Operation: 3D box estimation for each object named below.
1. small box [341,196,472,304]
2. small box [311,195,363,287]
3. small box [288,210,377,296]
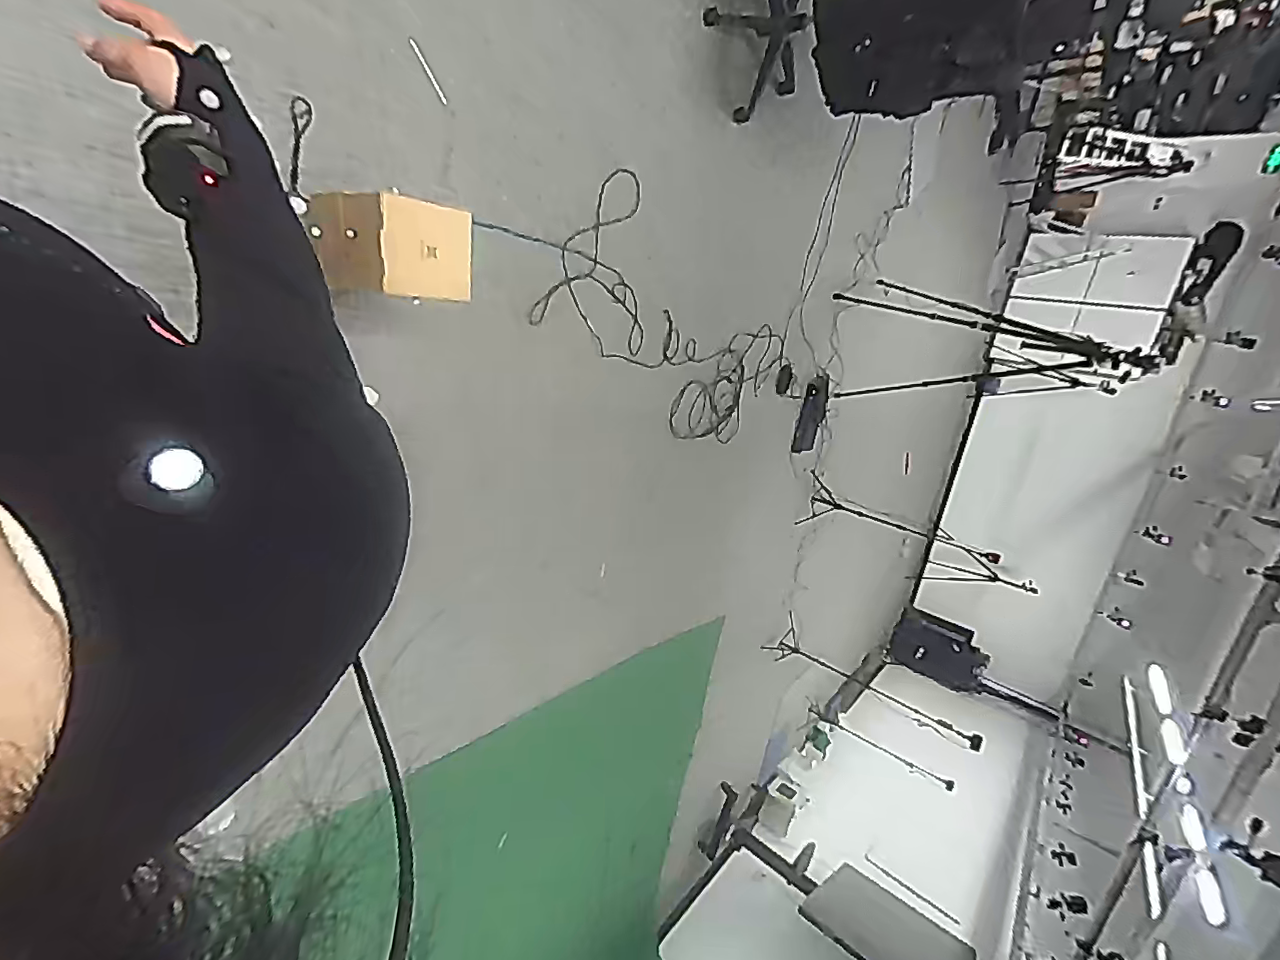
[{"bbox_3d":[-0.445,-0.437,1.038,0.179,0.176,0.168,-14,116,-47],"label":"small box"},{"bbox_3d":[-0.563,-0.488,1.138,0.179,0.176,0.168,-13,115,-47],"label":"small box"},{"bbox_3d":[-0.685,-0.518,1.244,0.179,0.176,0.168,-18,120,-47],"label":"small box"}]
